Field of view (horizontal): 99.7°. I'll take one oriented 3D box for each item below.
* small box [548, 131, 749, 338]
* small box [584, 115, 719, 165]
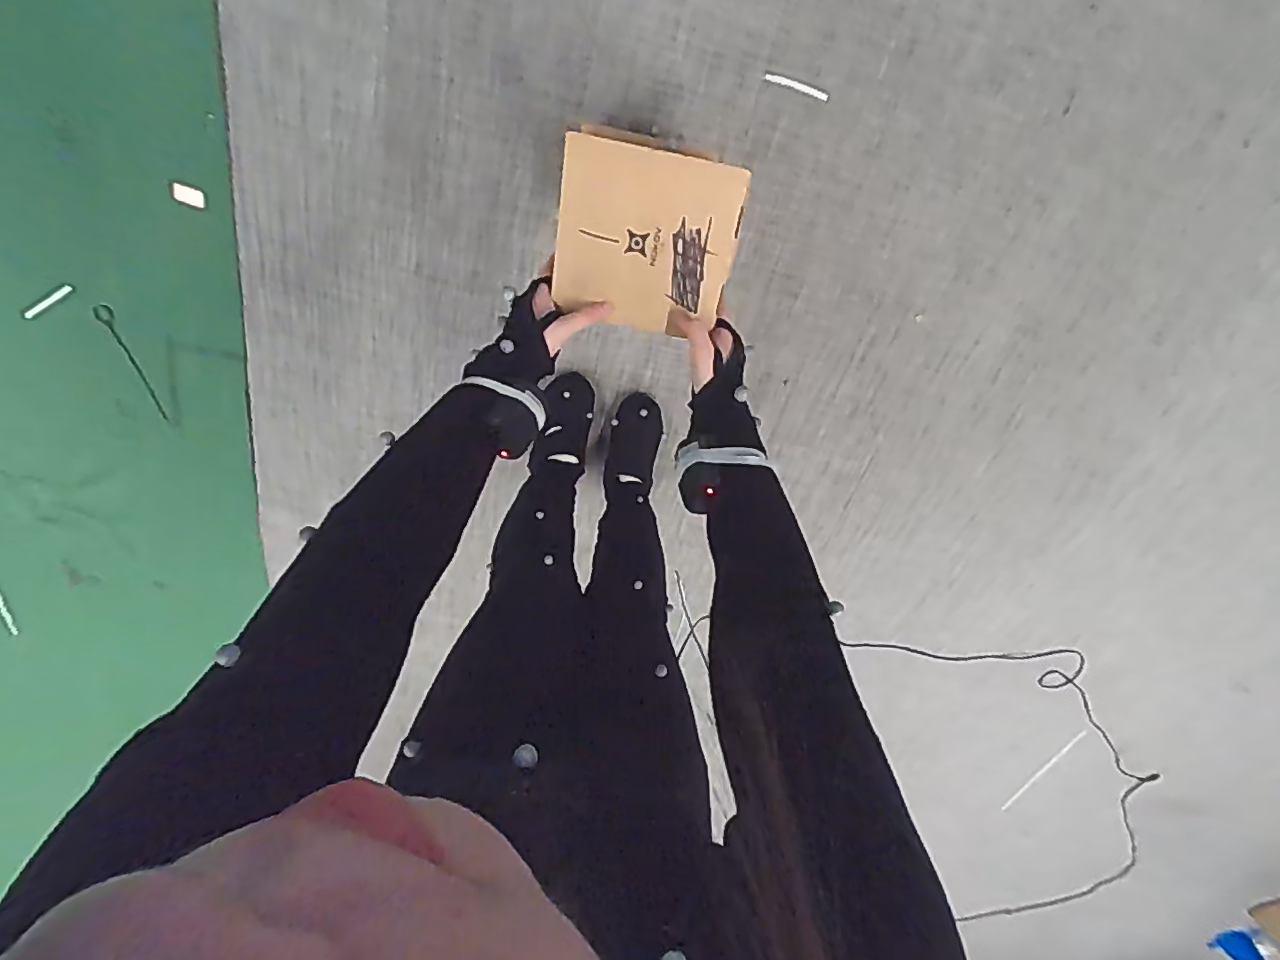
[{"bbox_3d":[0.003,-0.275,0.605,0.179,0.176,0.168,9,119,-6],"label":"small box"},{"bbox_3d":[-0.004,-0.376,0.741,0.168,0.176,0.179,9,122,-6],"label":"small box"}]
